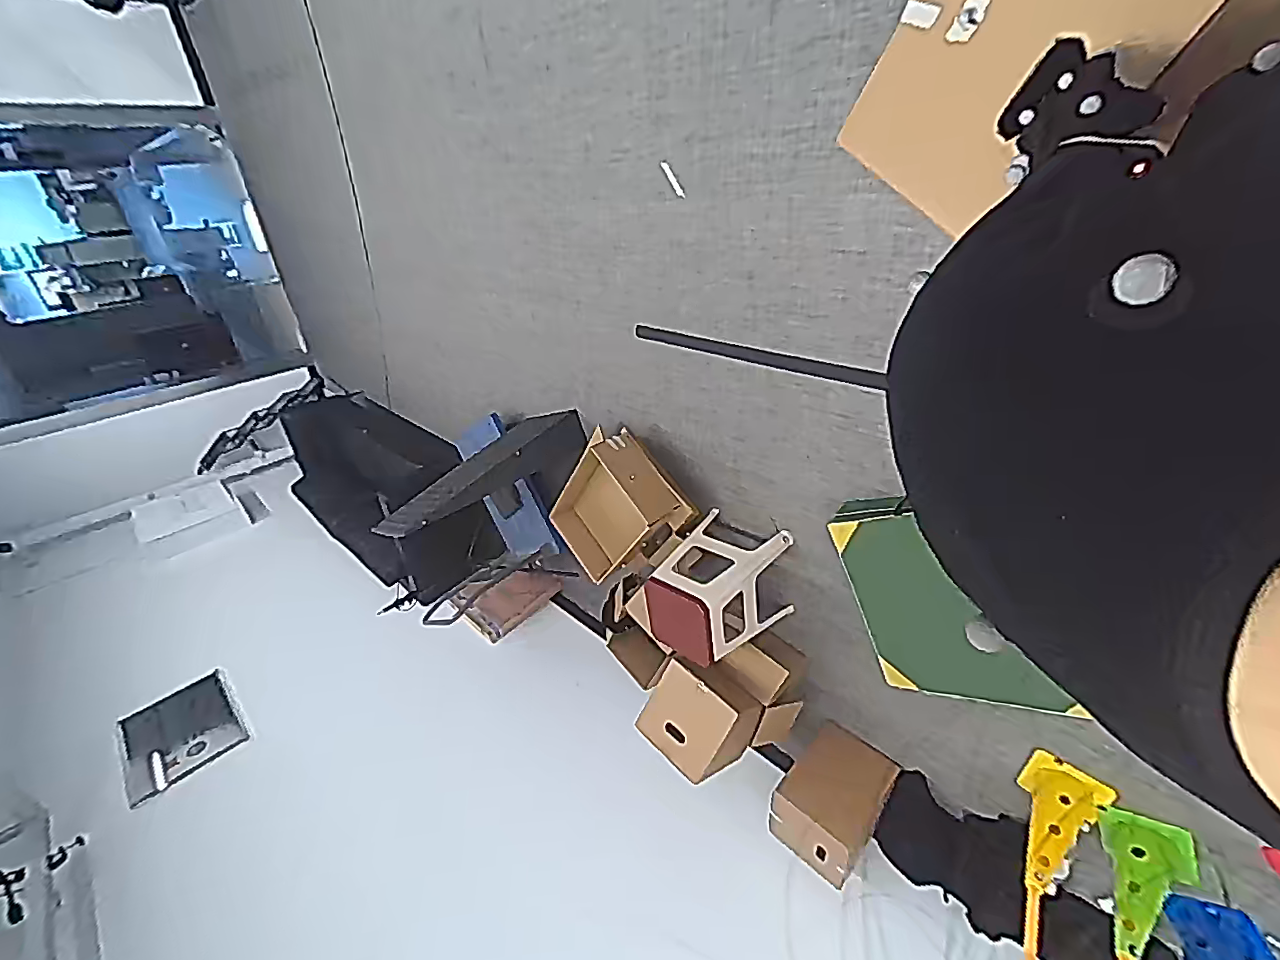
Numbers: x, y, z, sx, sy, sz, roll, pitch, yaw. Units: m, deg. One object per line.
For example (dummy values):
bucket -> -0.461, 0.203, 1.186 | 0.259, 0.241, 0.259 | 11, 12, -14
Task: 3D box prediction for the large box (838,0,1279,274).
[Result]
large box -> 0.564, -0.503, 0.728 | 0.320, 0.408, 0.320 | 61, 145, 26
